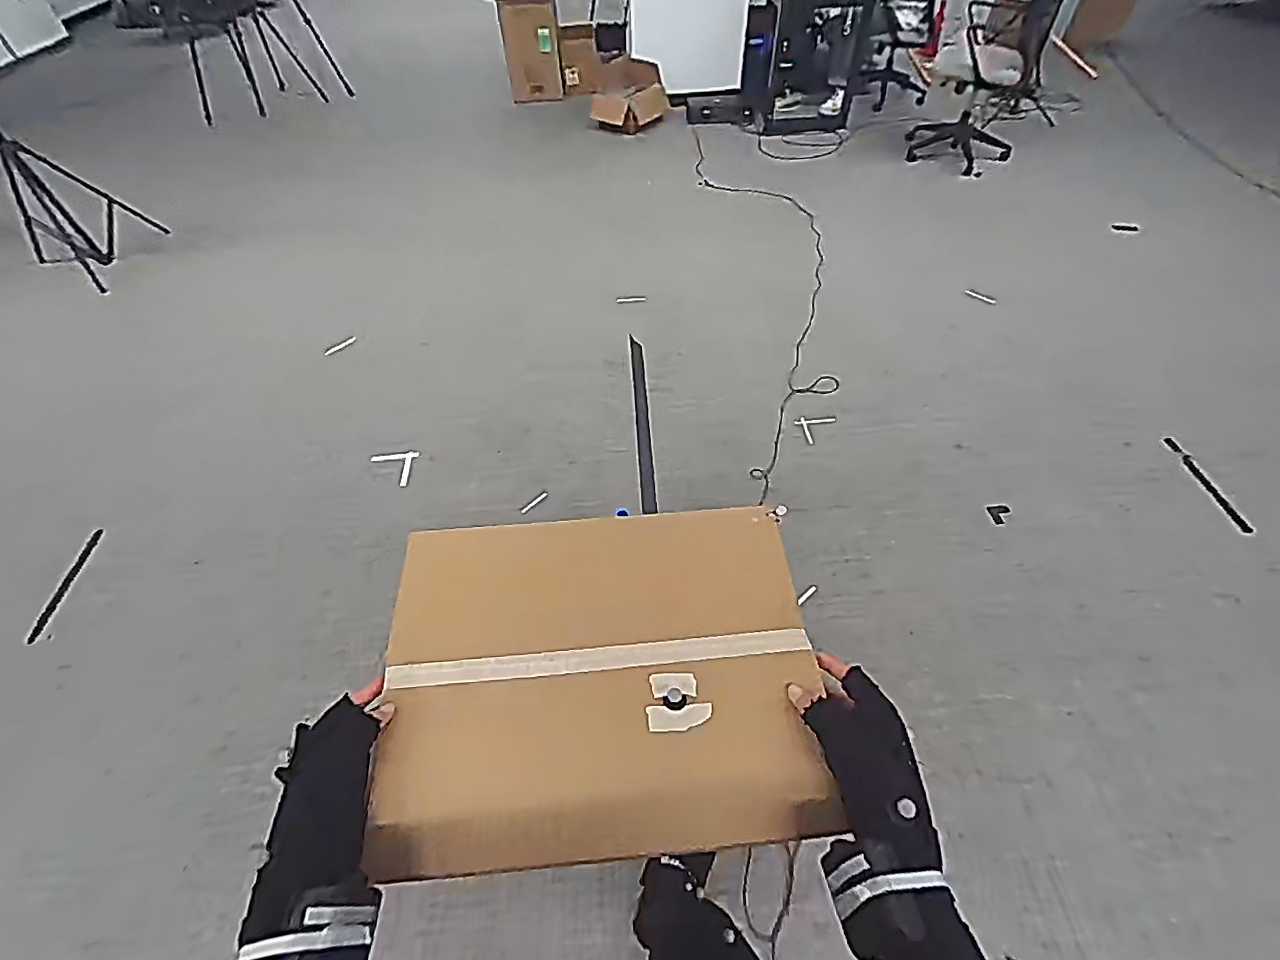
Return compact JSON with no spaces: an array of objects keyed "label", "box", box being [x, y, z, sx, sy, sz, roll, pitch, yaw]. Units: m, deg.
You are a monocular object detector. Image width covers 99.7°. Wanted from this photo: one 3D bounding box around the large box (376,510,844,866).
[{"label":"large box","box":[-0.035,0.260,0.657,0.408,0.320,0.320,-4,55,-2]}]
